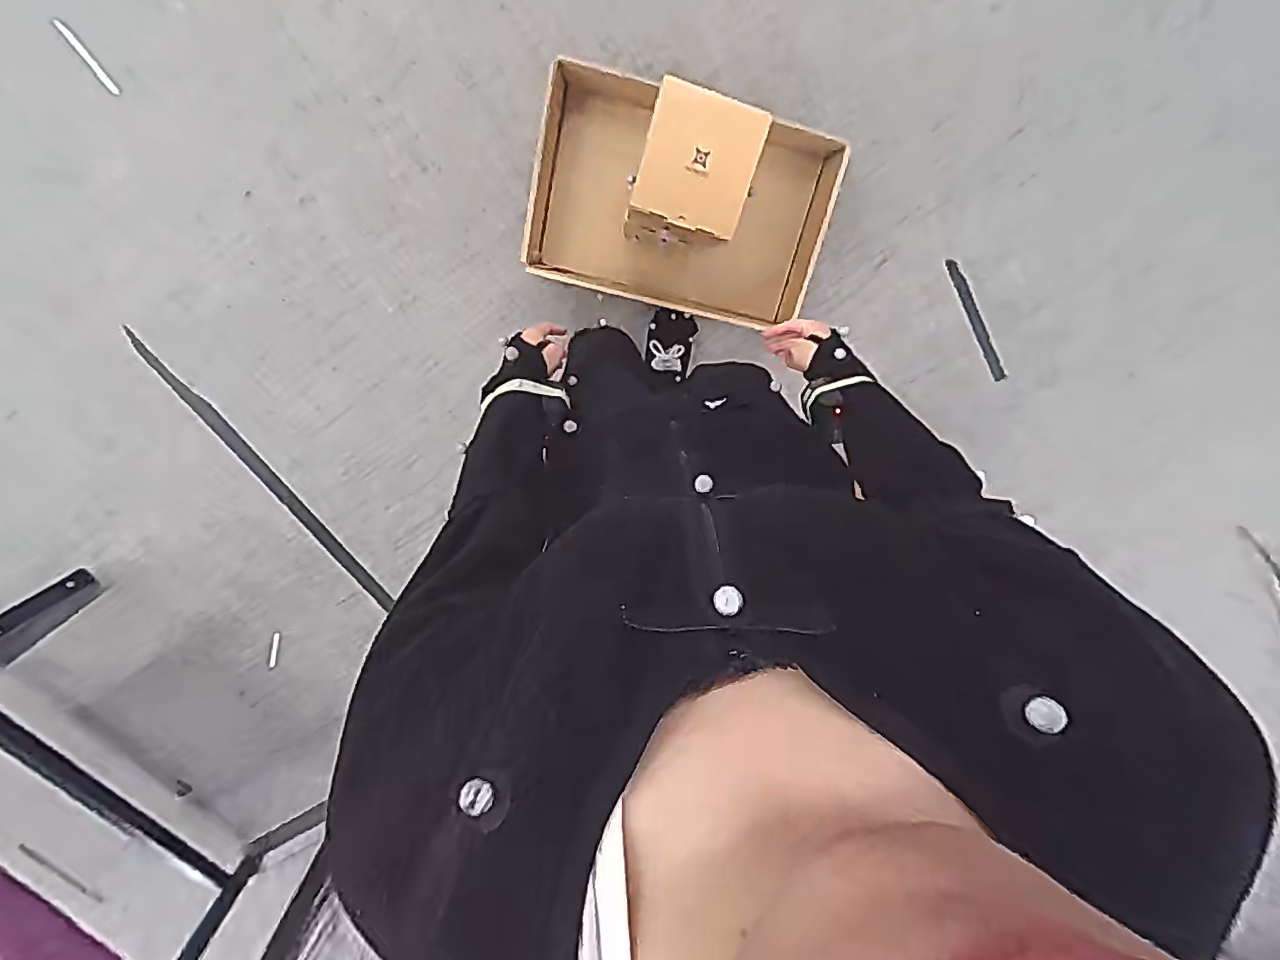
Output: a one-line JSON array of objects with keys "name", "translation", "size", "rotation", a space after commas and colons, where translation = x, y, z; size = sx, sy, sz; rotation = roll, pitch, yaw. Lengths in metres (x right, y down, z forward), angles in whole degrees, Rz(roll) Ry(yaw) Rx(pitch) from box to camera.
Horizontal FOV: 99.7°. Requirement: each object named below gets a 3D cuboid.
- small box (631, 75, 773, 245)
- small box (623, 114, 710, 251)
[{"name": "small box", "translation": [0.085, -0.491, 0.861], "size": [0.168, 0.176, 0.179], "rotation": [15, 109, -8]}, {"name": "small box", "translation": [0.071, -0.544, 1.015], "size": [0.168, 0.176, 0.179], "rotation": [16, 110, -8]}]
